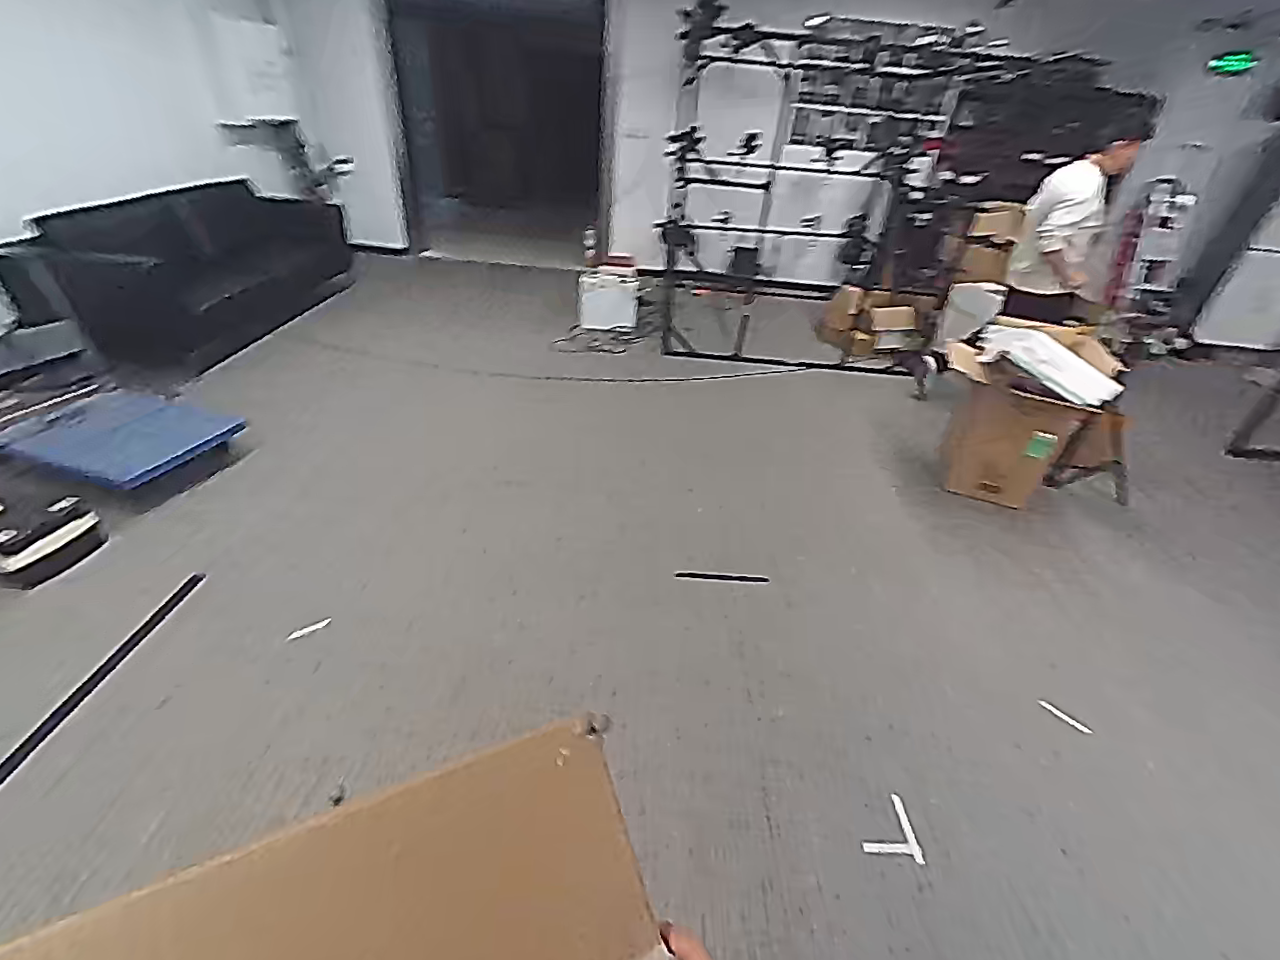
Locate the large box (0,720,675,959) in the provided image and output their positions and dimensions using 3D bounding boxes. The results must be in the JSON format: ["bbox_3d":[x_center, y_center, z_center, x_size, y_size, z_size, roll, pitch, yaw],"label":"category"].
[{"bbox_3d":[-0.194,0.421,0.417,0.408,0.320,0.320,-13,70,-21],"label":"large box"}]
